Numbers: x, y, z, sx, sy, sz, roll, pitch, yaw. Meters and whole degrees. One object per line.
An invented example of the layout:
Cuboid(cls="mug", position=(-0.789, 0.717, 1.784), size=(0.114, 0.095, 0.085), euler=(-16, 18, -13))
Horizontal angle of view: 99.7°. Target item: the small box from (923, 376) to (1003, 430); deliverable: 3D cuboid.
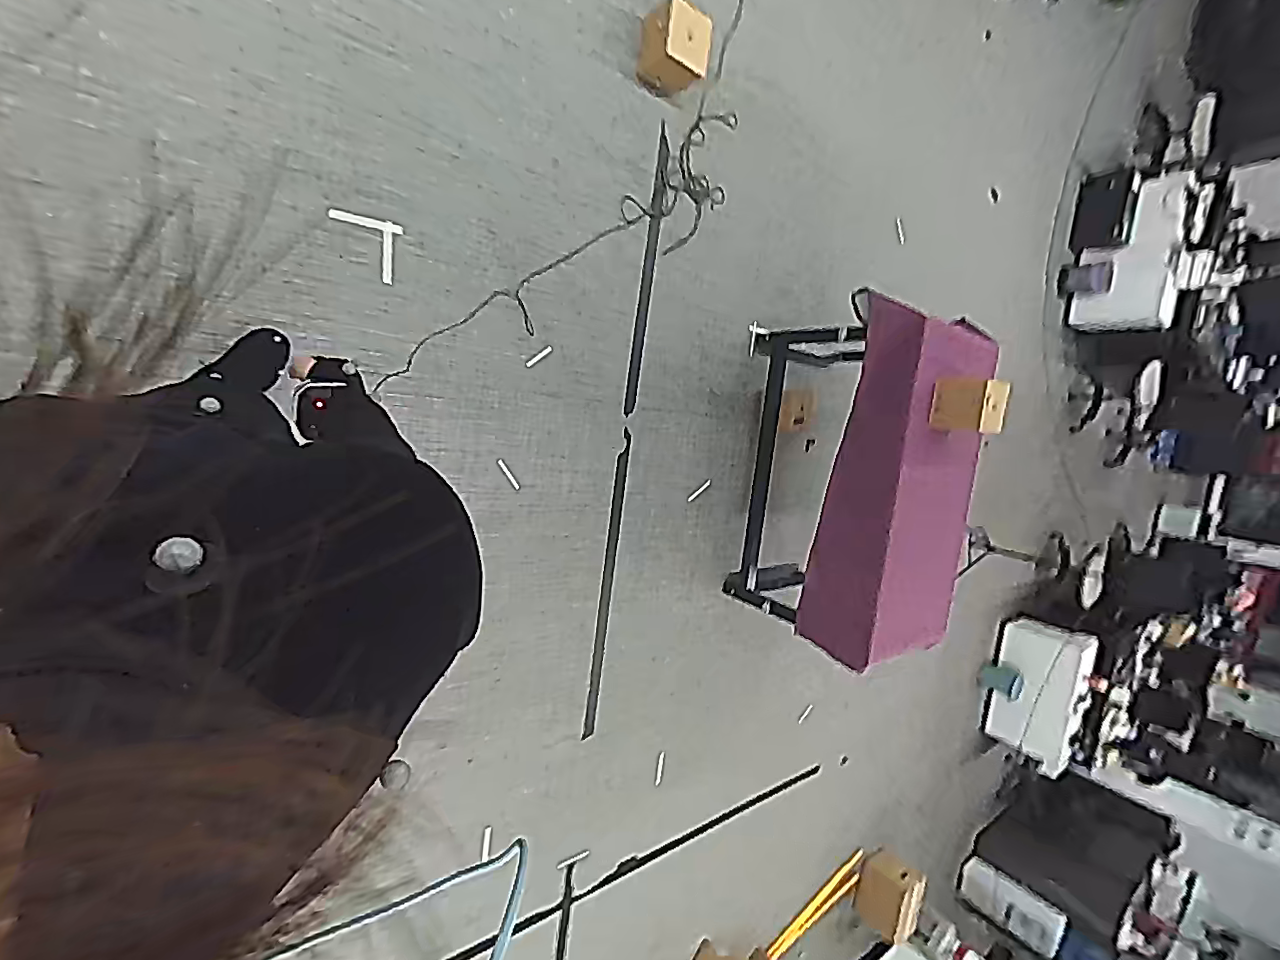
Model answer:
Cuboid(cls="small box", position=(1.110, -0.266, 1.861), size=(0.179, 0.176, 0.168), euler=(-1, 100, -38))

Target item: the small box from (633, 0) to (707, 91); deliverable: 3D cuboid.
Cuboid(cls="small box", position=(0.093, -1.423, 1.761), size=(0.168, 0.176, 0.179), euler=(3, 98, -37))
